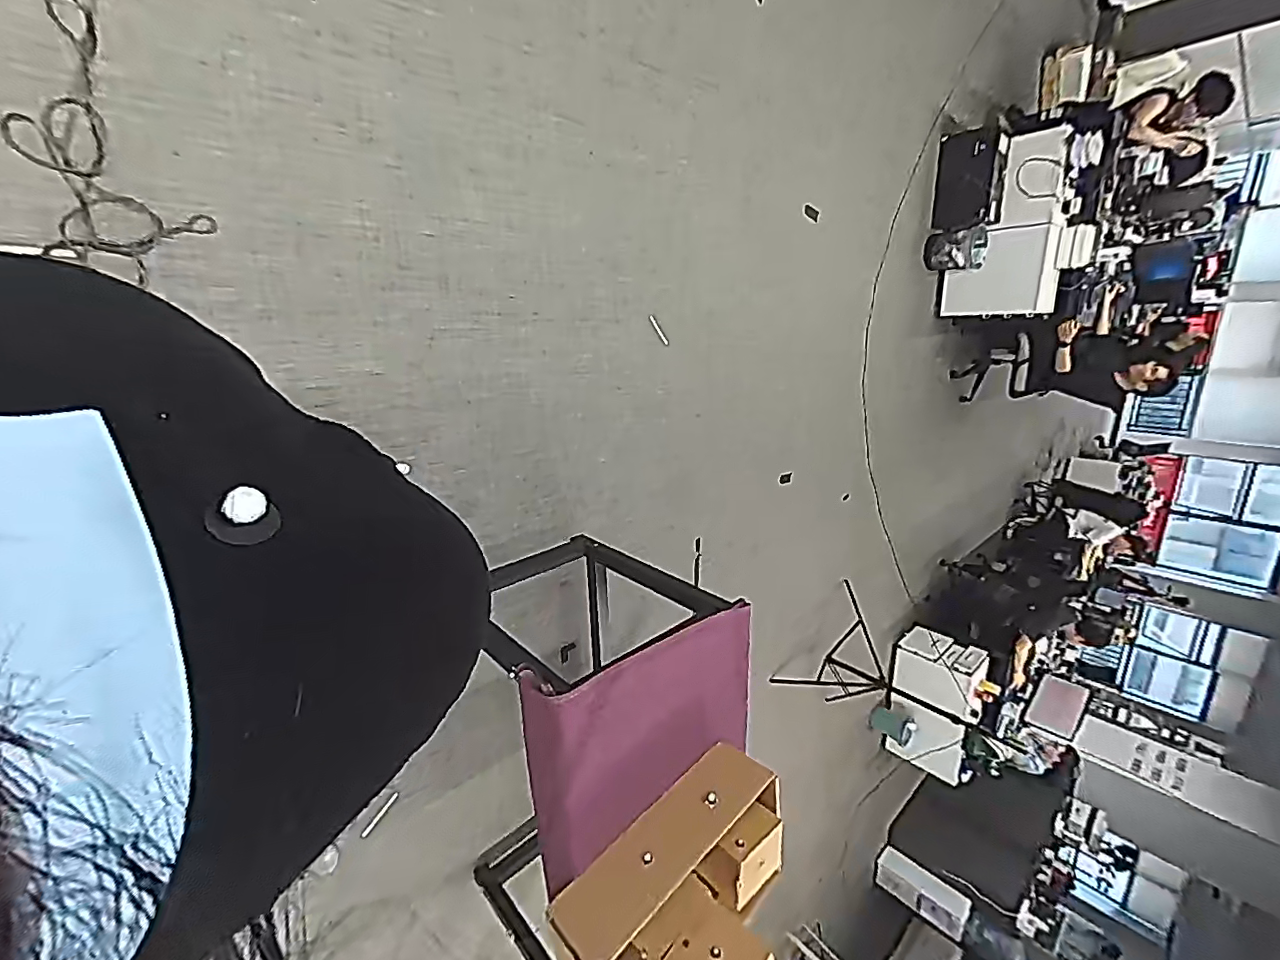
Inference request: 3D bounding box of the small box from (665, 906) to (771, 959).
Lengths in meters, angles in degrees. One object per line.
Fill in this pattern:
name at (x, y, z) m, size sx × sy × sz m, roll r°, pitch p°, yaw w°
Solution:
small box at (0.163, 1.056, 1.138) m, size 0.168 × 0.176 × 0.179 m, roll -30°, pitch 121°, yaw -37°
